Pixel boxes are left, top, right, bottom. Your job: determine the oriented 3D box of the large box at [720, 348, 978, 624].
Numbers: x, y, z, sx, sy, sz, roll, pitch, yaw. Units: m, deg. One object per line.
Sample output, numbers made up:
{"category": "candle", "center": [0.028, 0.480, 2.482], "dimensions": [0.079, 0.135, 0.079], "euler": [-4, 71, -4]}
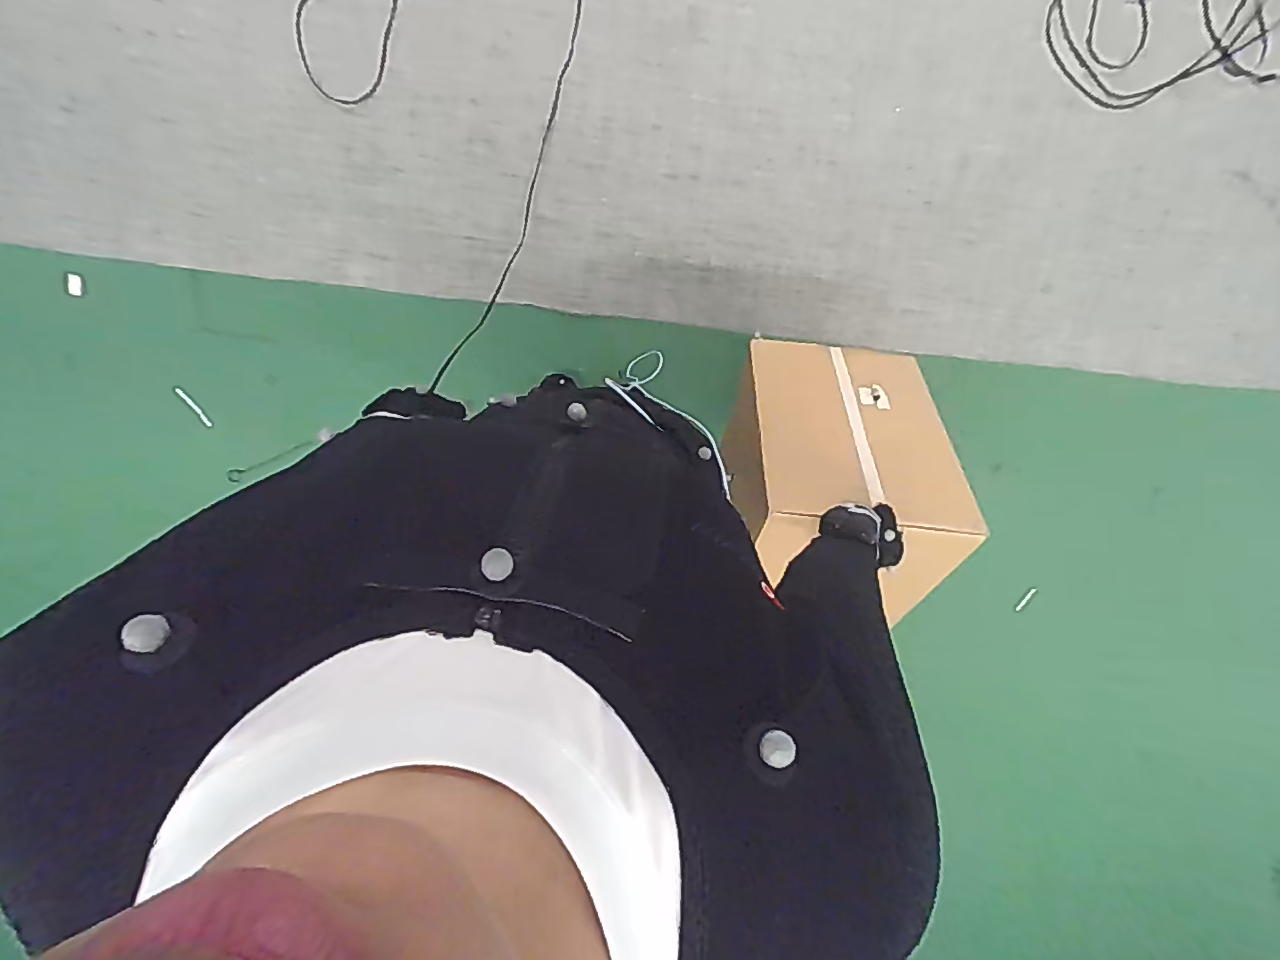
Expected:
{"category": "large box", "center": [0.332, 0.013, 1.006], "dimensions": [0.320, 0.408, 0.320], "euler": [7, 139, -2]}
